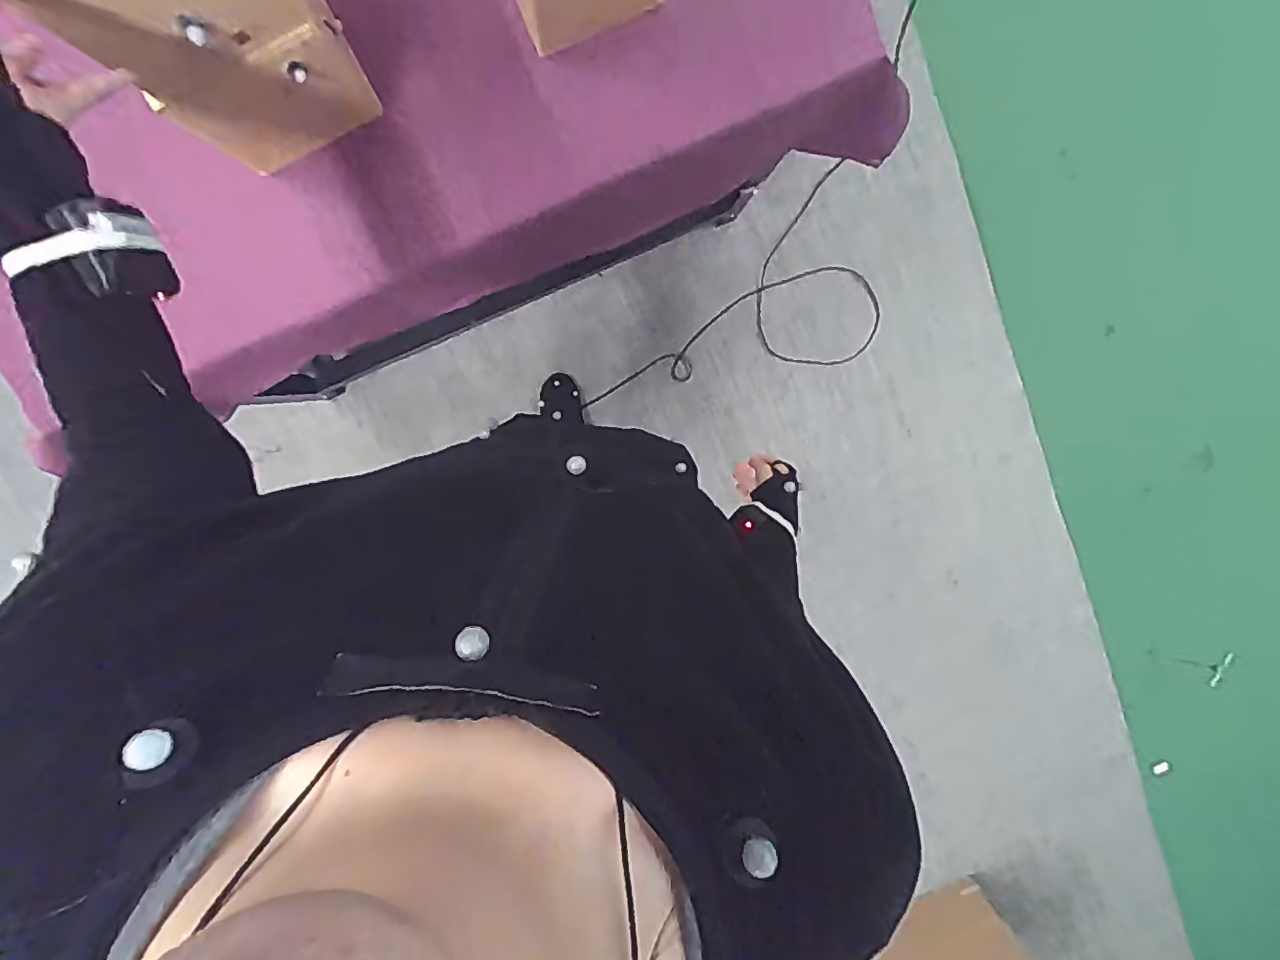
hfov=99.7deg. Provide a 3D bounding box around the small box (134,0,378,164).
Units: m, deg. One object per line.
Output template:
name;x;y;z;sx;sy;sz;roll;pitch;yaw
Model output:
small box;-0.425;-0.482;0.579;0.179;0.176;0.168;-28;101;1

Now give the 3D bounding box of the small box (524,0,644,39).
small box;-0.069;-0.626;0.571;0.179;0.176;0.168;-23;102;1

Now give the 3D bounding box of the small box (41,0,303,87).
small box;-0.415;-0.463;0.415;0.168;0.176;0.179;-28;101;2
